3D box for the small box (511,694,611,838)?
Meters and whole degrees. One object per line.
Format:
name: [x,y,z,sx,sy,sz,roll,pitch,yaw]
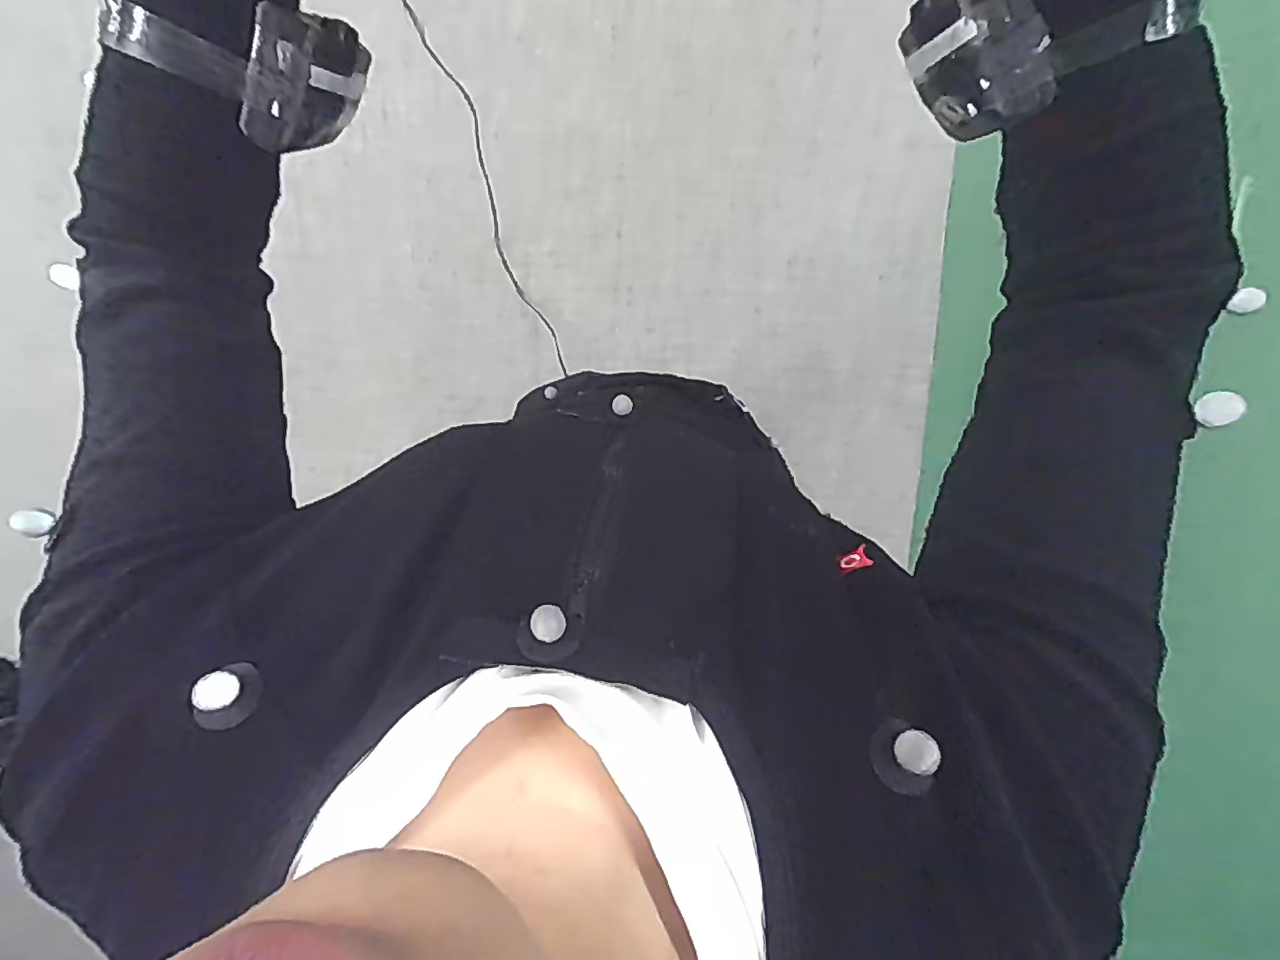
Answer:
small box: [-0.155,0.553,1.066,0.168,0.176,0.179,8,102,5]
